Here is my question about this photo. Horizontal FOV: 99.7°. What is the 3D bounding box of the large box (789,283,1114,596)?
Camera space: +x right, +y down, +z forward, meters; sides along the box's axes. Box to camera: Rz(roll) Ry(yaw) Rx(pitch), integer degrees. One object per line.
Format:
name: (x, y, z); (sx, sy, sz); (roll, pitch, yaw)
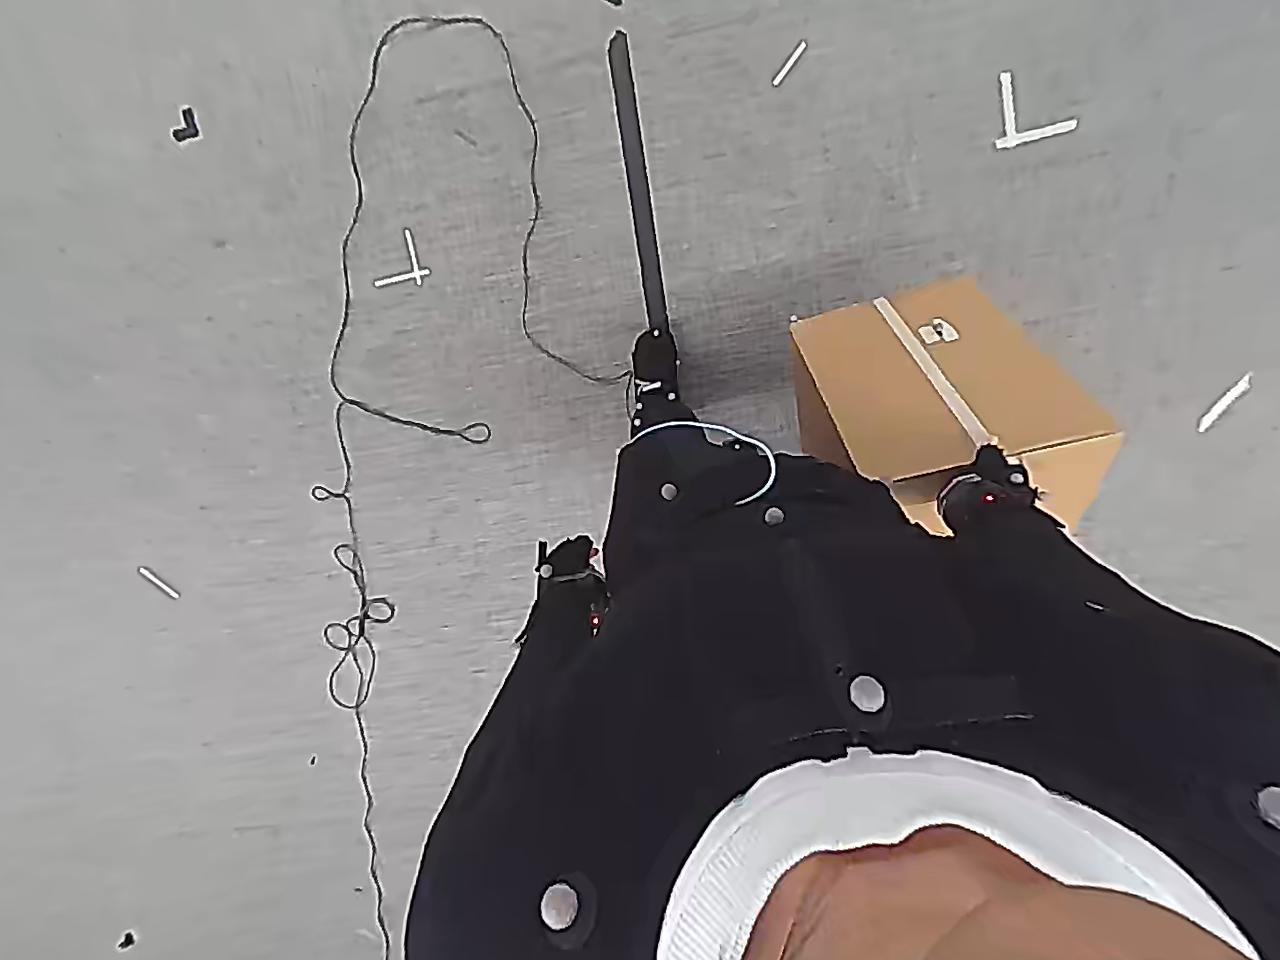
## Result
large box: (0.475, -0.071, 0.937); (0.320, 0.408, 0.320); (-13, 135, 7)
